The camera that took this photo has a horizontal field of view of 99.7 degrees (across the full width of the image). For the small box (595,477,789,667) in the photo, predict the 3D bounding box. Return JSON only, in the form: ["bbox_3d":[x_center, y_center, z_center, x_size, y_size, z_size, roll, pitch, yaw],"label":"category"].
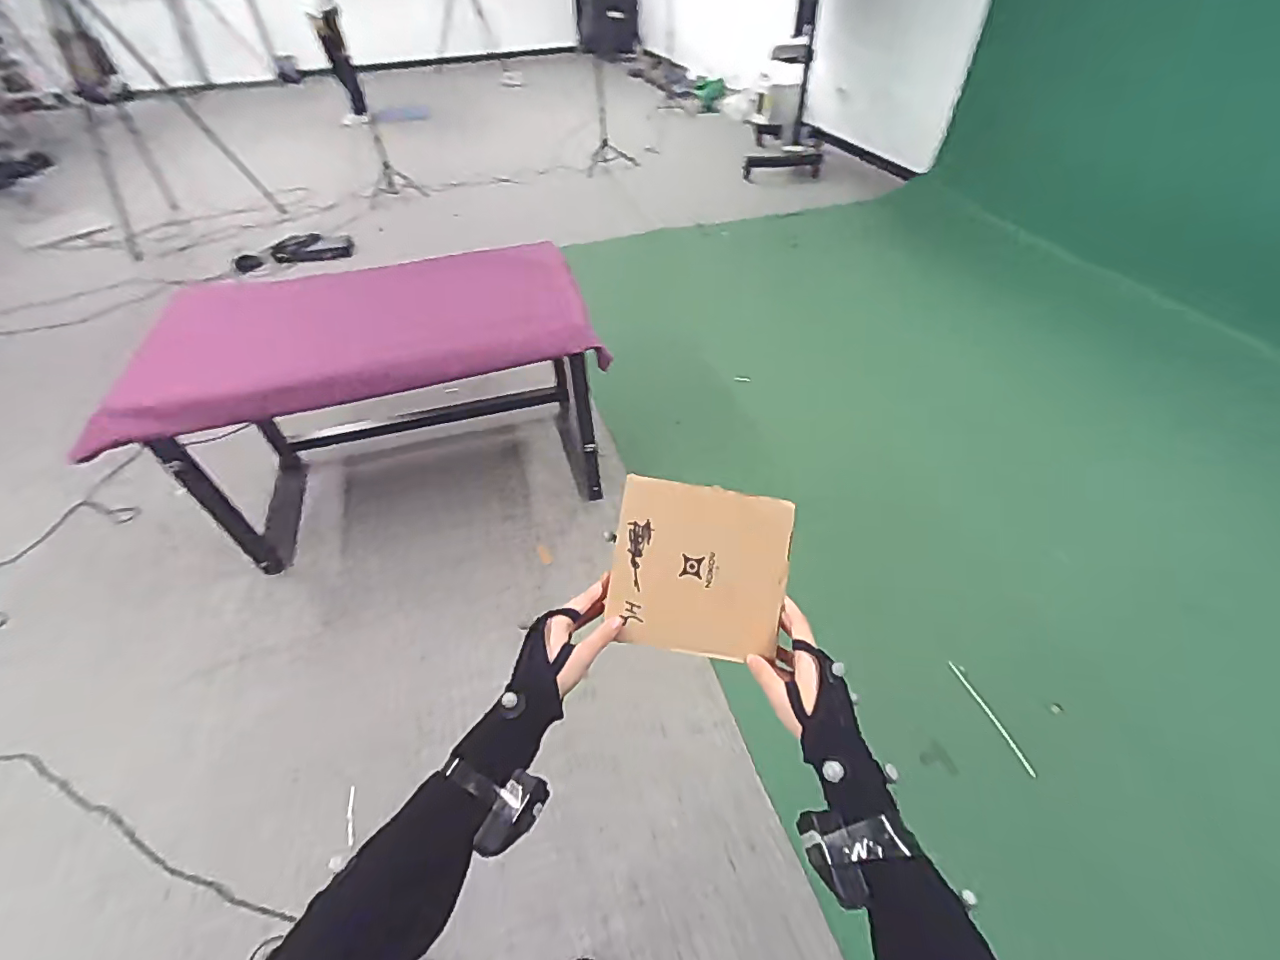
[{"bbox_3d":[0.049,0.101,0.612,0.179,0.176,0.168,9,80,-2],"label":"small box"}]
